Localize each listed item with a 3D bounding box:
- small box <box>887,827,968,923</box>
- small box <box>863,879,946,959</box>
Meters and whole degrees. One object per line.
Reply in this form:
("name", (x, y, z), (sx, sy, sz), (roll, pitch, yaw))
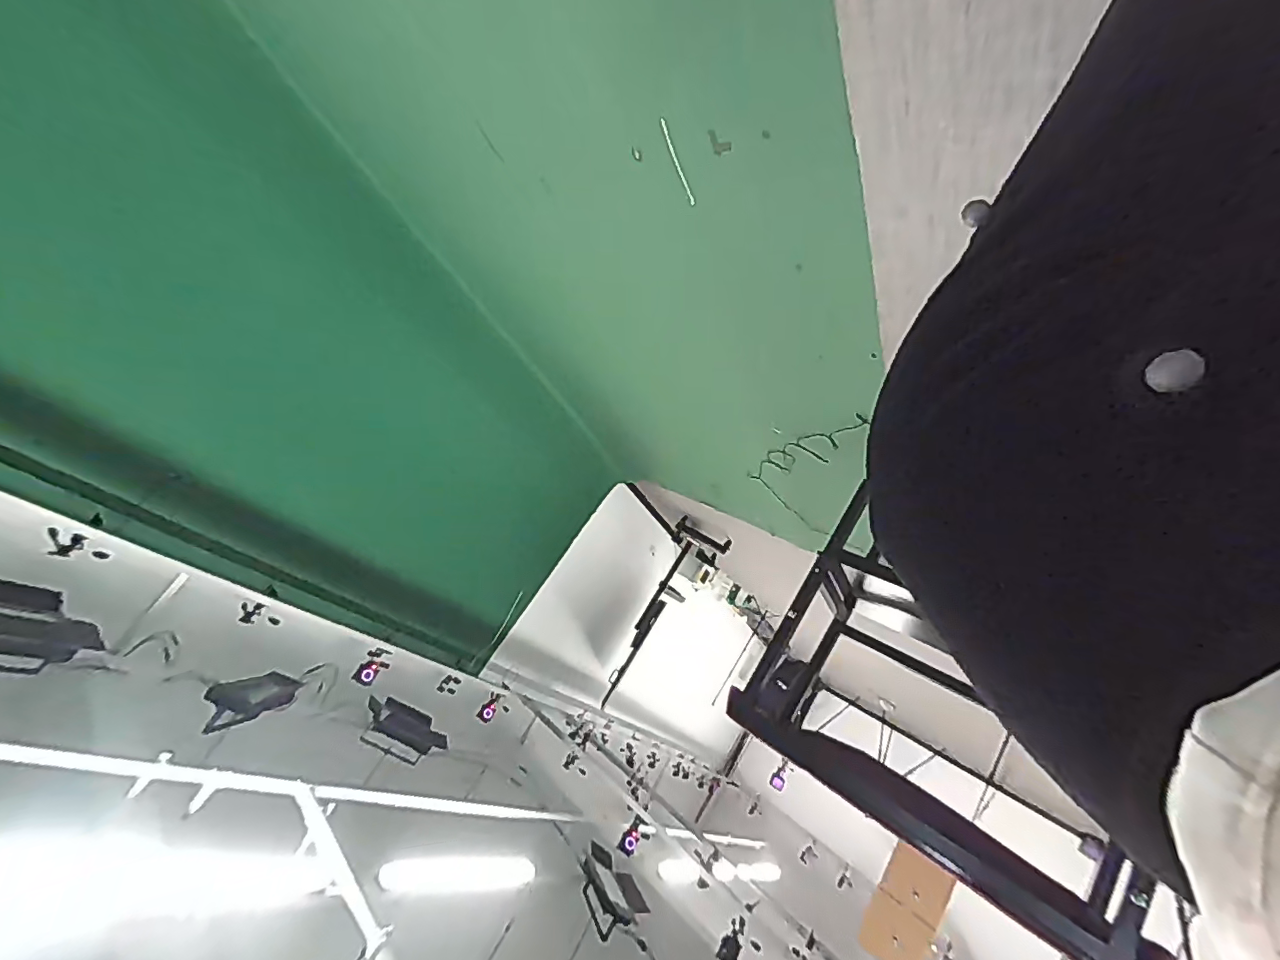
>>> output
("small box", (0.903, 1.227, 1.693), (0.179, 0.176, 0.168), (24, 163, 39))
("small box", (0.812, 1.359, 1.657), (0.179, 0.176, 0.168), (23, 163, 38))
